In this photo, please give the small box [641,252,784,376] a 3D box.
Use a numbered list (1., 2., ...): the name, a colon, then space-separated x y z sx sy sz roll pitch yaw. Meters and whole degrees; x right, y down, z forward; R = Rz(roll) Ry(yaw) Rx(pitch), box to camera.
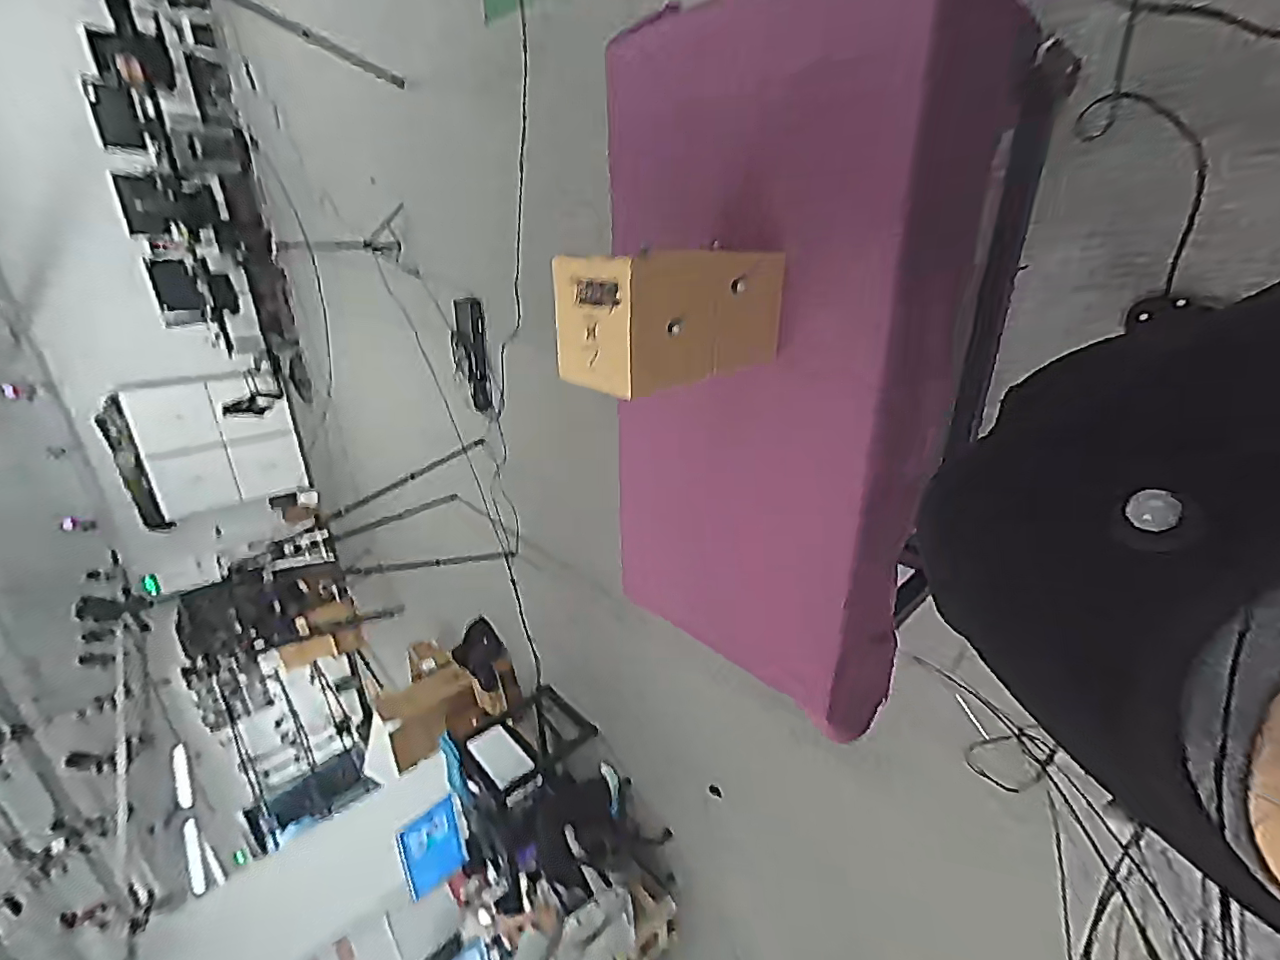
1. small box: 0.119 -0.282 0.896 0.168 0.176 0.179 24 123 43
